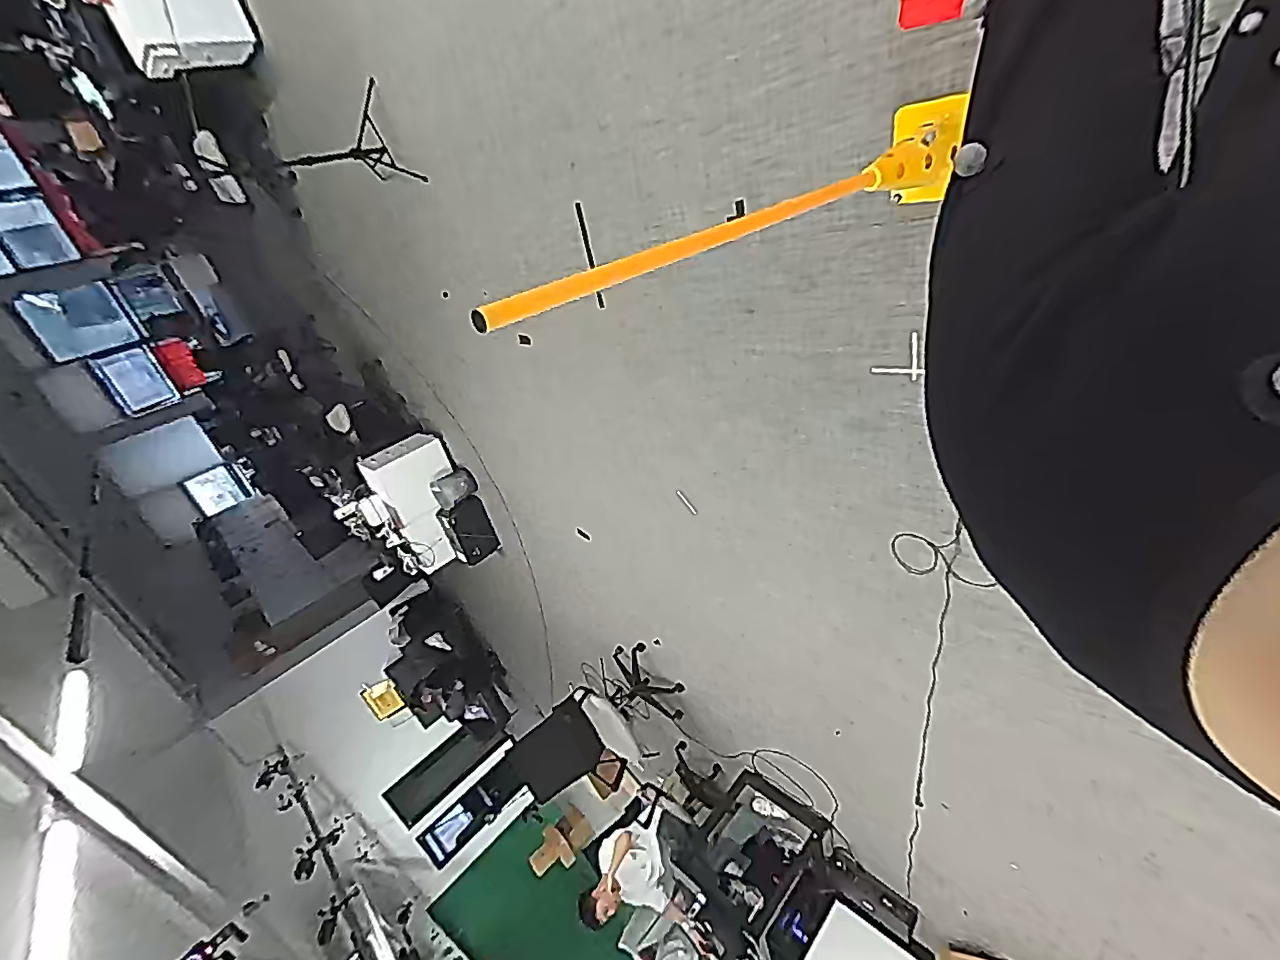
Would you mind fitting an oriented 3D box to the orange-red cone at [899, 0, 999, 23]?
[{"bbox_3d":[0.489,-0.928,0.933,0.198,0.360,0.199,23,134,38],"label":"orange-red cone"}]
